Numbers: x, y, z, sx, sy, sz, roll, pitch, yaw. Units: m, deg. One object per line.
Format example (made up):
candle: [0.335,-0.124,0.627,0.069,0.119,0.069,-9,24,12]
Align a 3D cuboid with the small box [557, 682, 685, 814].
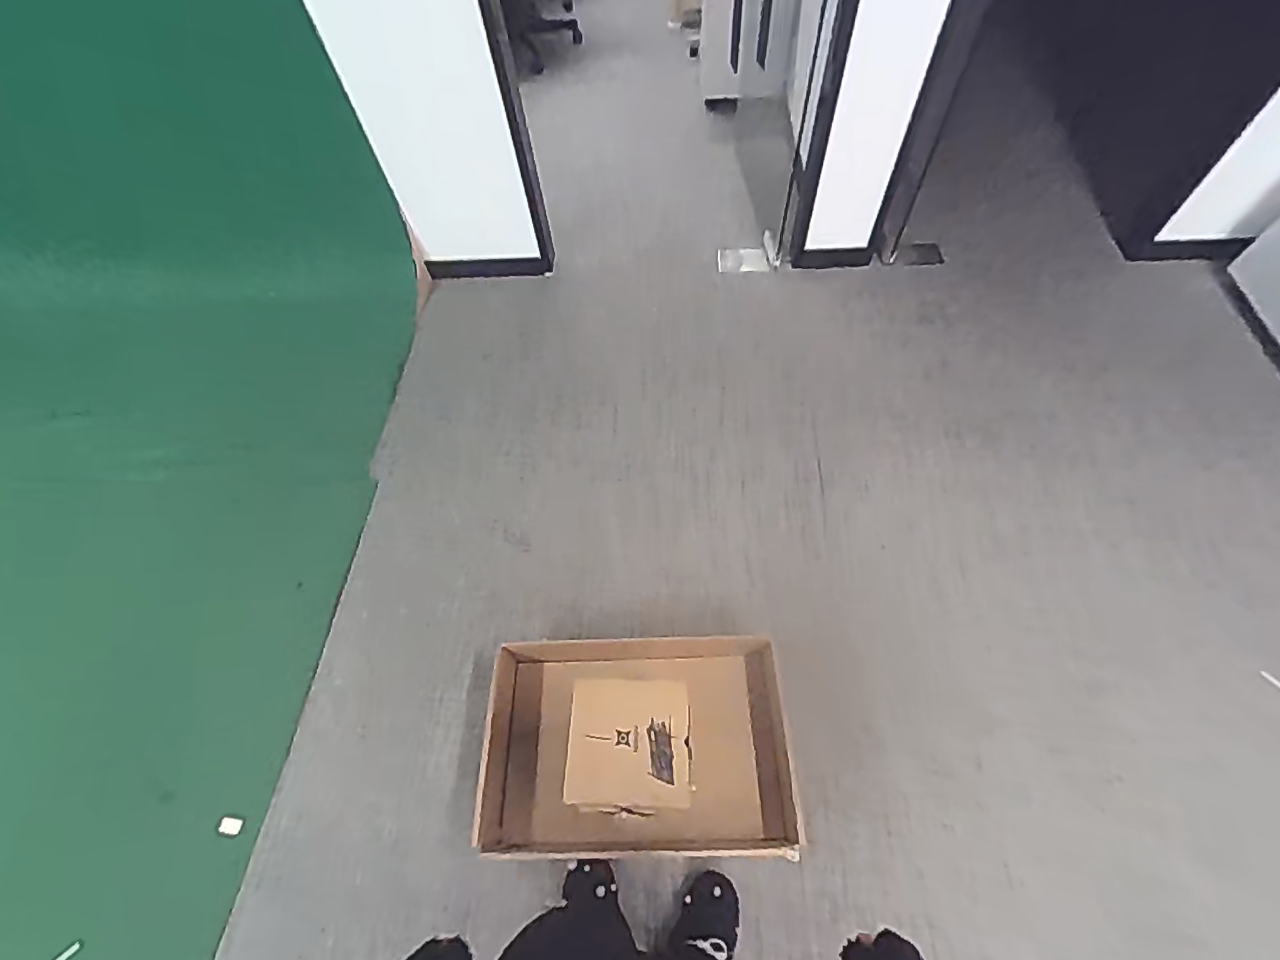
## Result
small box: [-0.021,0.425,0.852,0.179,0.176,0.168,1,57,4]

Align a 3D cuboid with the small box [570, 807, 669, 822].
small box: [-0.024,0.507,0.975,0.168,0.176,0.179,1,59,3]
